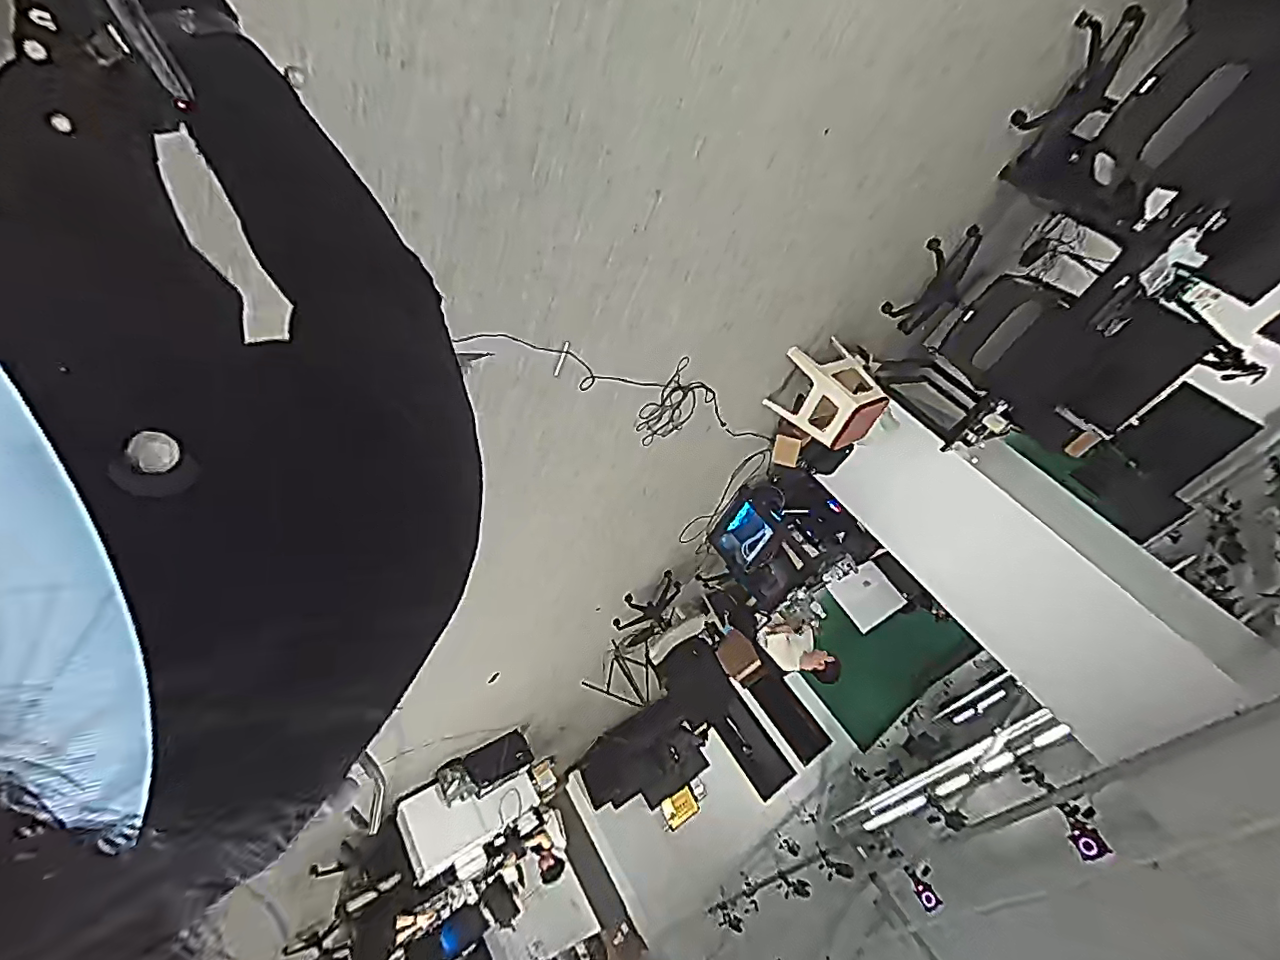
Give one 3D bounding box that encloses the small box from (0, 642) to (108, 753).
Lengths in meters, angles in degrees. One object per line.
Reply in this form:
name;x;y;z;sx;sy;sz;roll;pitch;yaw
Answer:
small box;-1.464;0.537;1.349;0.168;0.176;0.179;-13;143;-40
